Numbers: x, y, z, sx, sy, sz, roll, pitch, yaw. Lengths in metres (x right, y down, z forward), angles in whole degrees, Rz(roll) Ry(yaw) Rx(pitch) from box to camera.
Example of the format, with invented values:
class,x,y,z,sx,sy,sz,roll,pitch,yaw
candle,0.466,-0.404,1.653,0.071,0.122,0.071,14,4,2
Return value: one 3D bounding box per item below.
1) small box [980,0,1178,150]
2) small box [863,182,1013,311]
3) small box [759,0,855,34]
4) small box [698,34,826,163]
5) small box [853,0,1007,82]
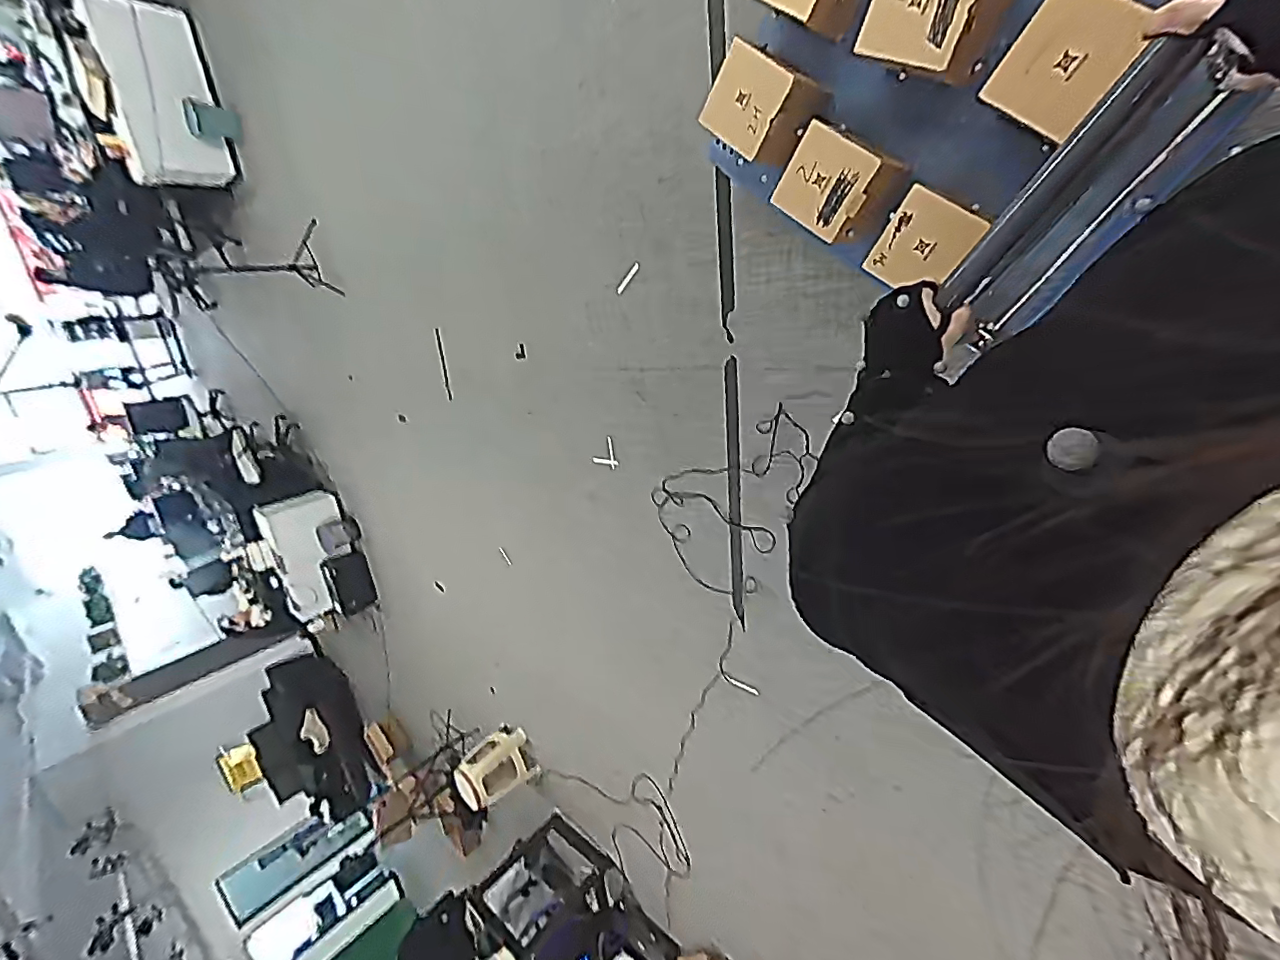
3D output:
class,x,y,z,sx,sy,sz,roll,pitch,yaw
small box,0.693,-0.652,0.859,0.179,0.176,0.168,47,133,18
small box,0.582,-0.454,1.051,0.179,0.176,0.168,44,132,20
small box,0.332,-0.997,1.041,0.179,0.176,0.168,44,133,20
small box,0.267,-0.819,1.180,0.179,0.176,0.168,47,134,16
small box,0.517,-0.820,0.946,0.179,0.176,0.168,37,130,26
